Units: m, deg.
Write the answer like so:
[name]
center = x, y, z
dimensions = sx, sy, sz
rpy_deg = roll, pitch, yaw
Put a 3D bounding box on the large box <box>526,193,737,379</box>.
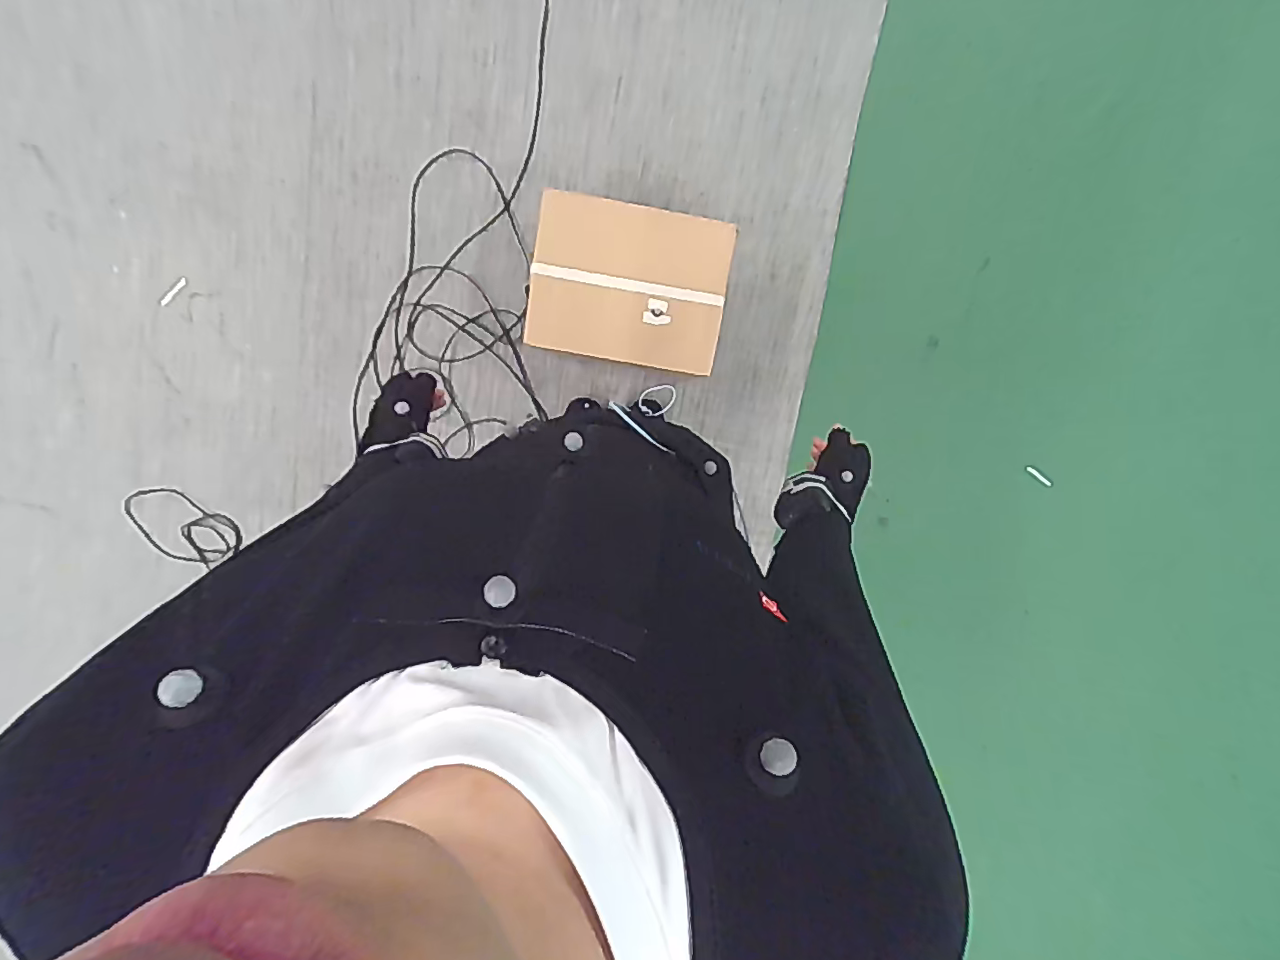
[large box]
center = -0.027, -0.424, 1.266
dimensions = 0.408, 0.320, 0.320
rpy_deg = 10, 99, -3
